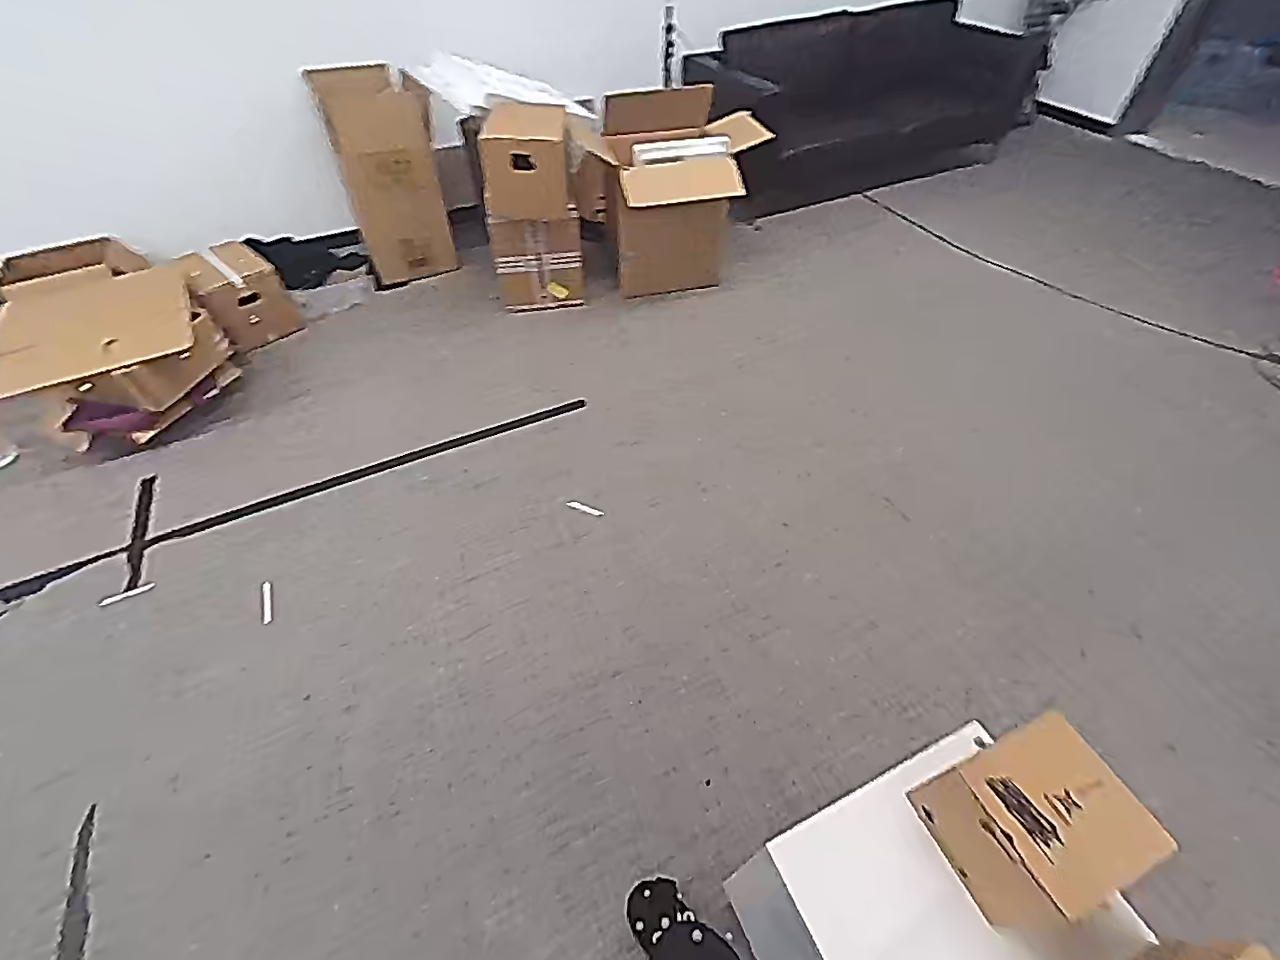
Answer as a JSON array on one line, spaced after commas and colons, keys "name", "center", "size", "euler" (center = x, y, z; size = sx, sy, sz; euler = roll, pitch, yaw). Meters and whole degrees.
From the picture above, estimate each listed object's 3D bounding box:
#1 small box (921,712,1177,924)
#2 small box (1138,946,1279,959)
[{"name": "small box", "center": [0.495, 0.434, 0.693], "size": [0.179, 0.176, 0.168], "euler": [-18, 51, -15]}, {"name": "small box", "center": [0.594, 0.608, 0.542], "size": [0.179, 0.176, 0.168], "euler": [-20, 50, -14]}]
